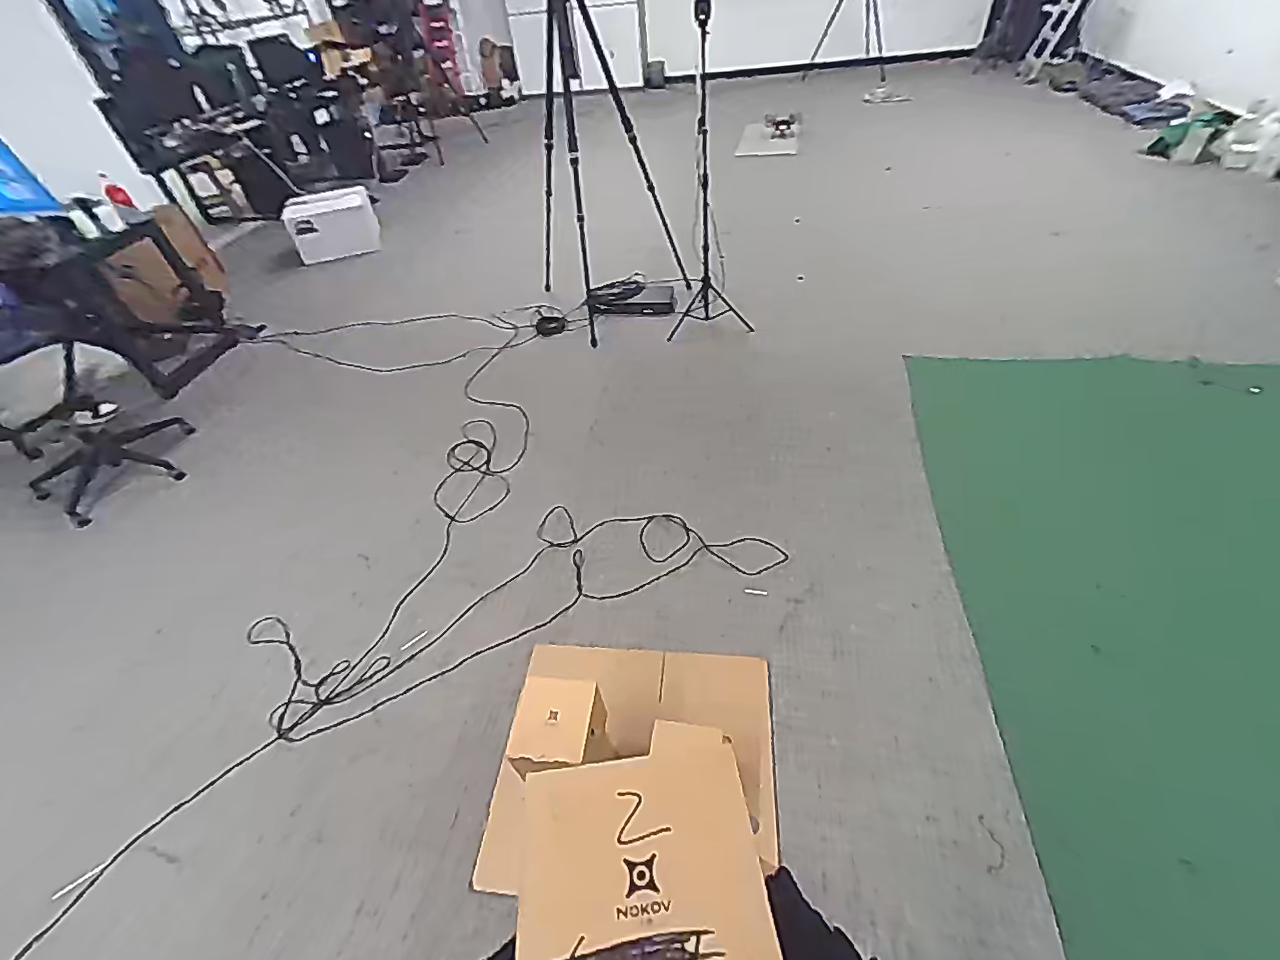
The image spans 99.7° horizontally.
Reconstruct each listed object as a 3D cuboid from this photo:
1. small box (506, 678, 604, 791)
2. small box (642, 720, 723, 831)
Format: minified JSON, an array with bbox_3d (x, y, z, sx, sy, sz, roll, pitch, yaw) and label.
[{"bbox_3d":[-0.179,0.570,1.213,0.168,0.176,0.179,1,45,9],"label":"small box"},{"bbox_3d":[0.107,0.699,1.278,0.168,0.176,0.179,3,46,13],"label":"small box"}]
